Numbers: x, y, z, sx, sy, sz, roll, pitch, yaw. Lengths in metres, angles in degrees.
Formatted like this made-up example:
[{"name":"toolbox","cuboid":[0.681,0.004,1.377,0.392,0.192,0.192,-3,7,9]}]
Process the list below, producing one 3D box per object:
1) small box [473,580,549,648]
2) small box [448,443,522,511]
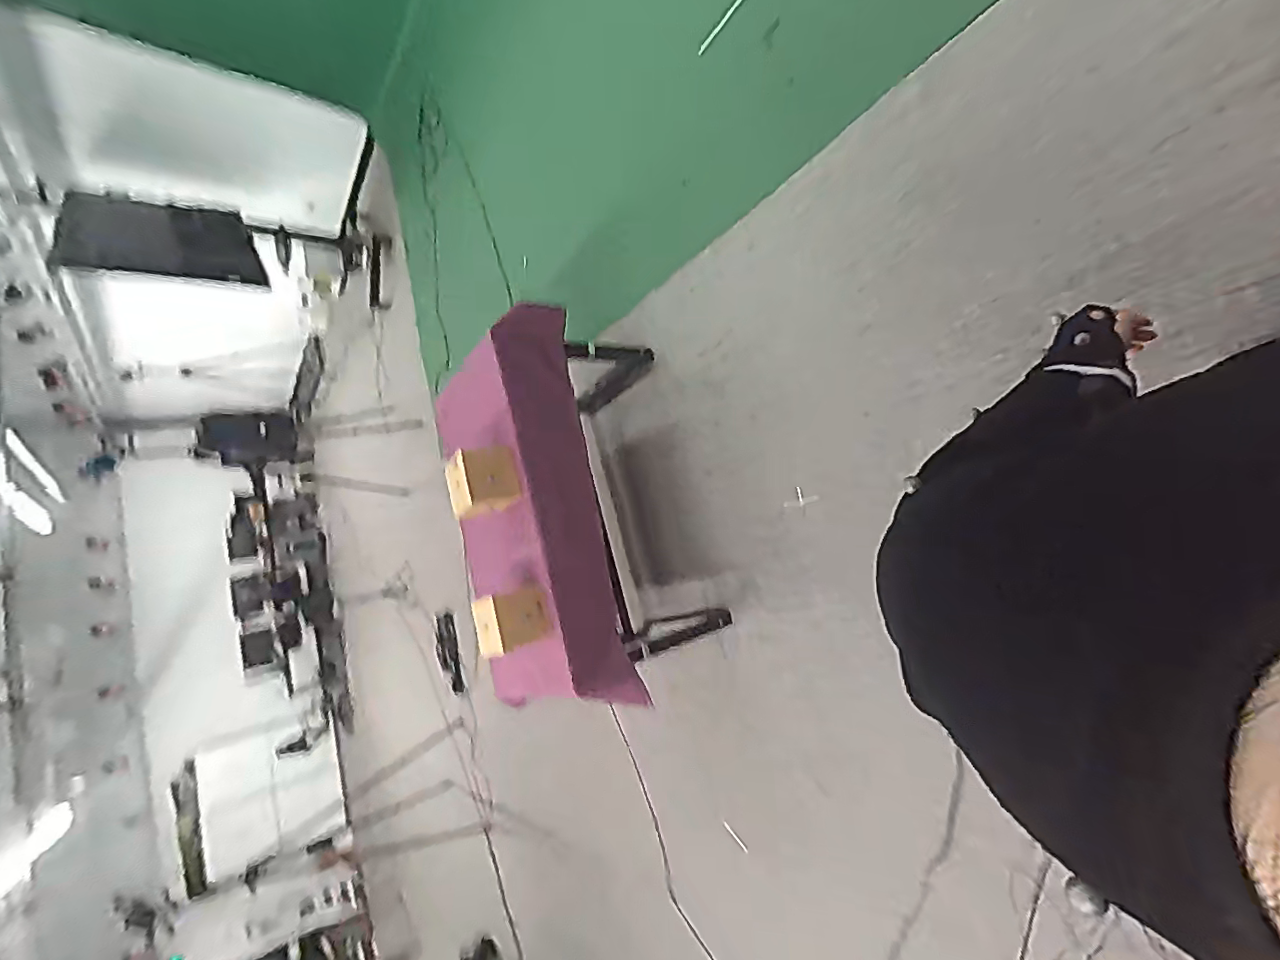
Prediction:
[{"name":"small box","cuboid":[-0.395,0.416,1.684,0.179,0.176,0.168,-27,73,49]},{"name":"small box","cuboid":[-0.502,-0.012,1.758,0.168,0.176,0.179,-28,74,48]}]
